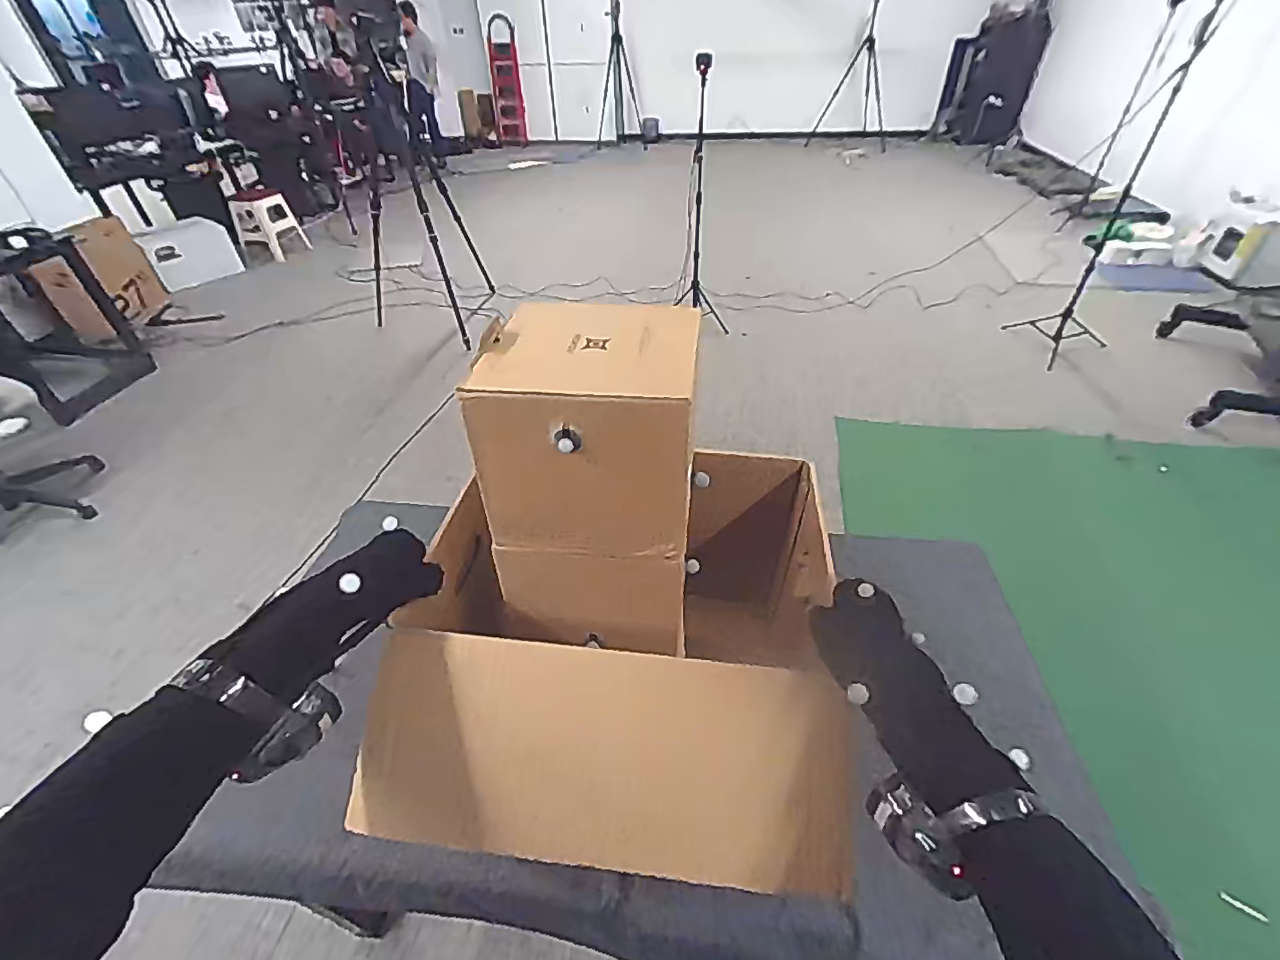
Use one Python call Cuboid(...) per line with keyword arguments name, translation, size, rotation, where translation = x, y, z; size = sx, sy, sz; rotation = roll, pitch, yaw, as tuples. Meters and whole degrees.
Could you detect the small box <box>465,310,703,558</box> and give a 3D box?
Cuboid(name="small box", translation=(-0.035, -0.044, 0.503), size=(0.179, 0.176, 0.168), rotation=(4, 40, 5))
